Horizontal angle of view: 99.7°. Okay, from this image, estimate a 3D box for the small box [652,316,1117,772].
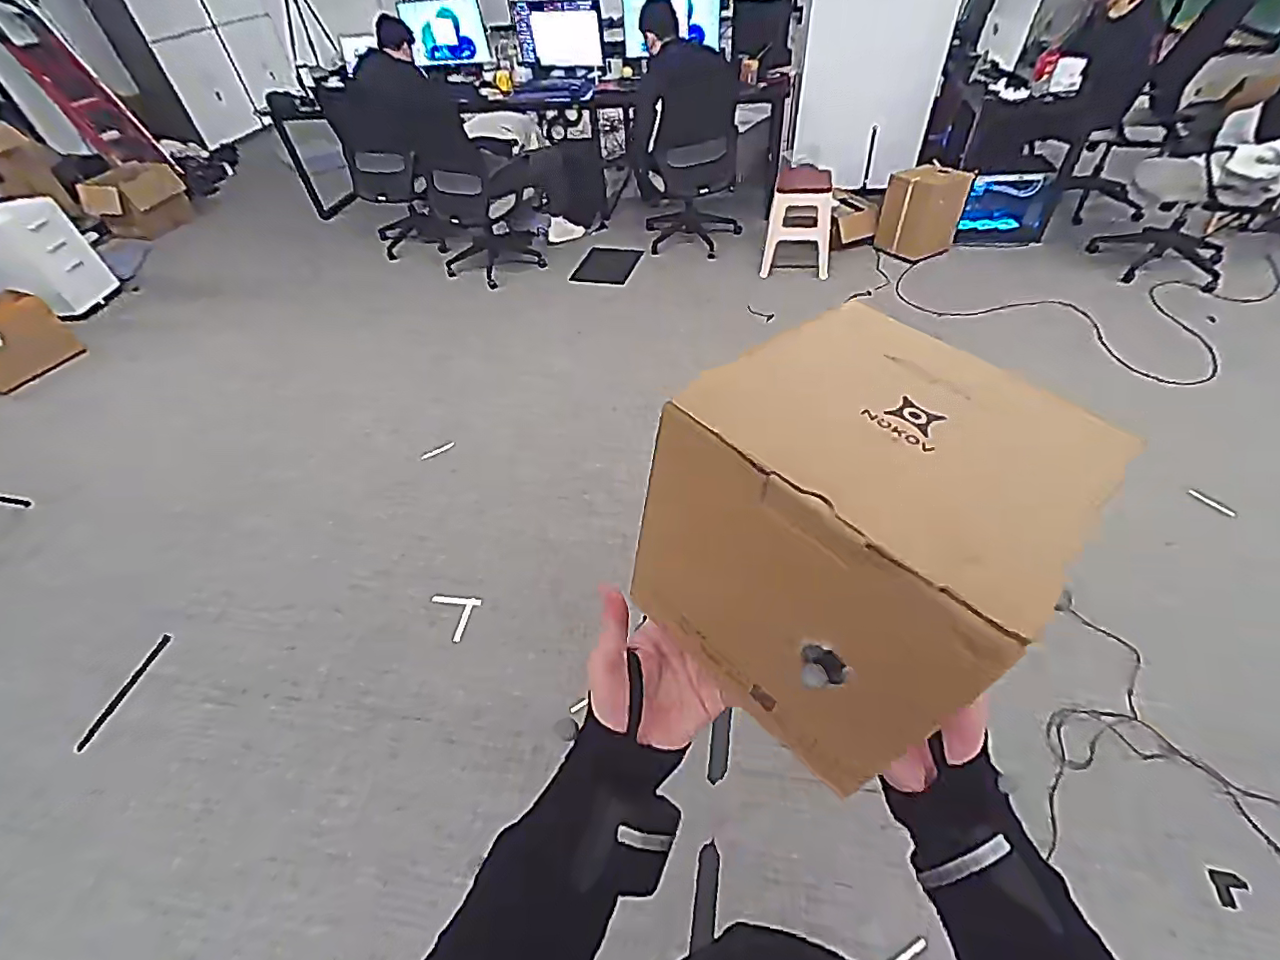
[{"bbox_3d":[0.122,0.032,0.324,0.168,0.176,0.179,38,50,25],"label":"small box"}]
